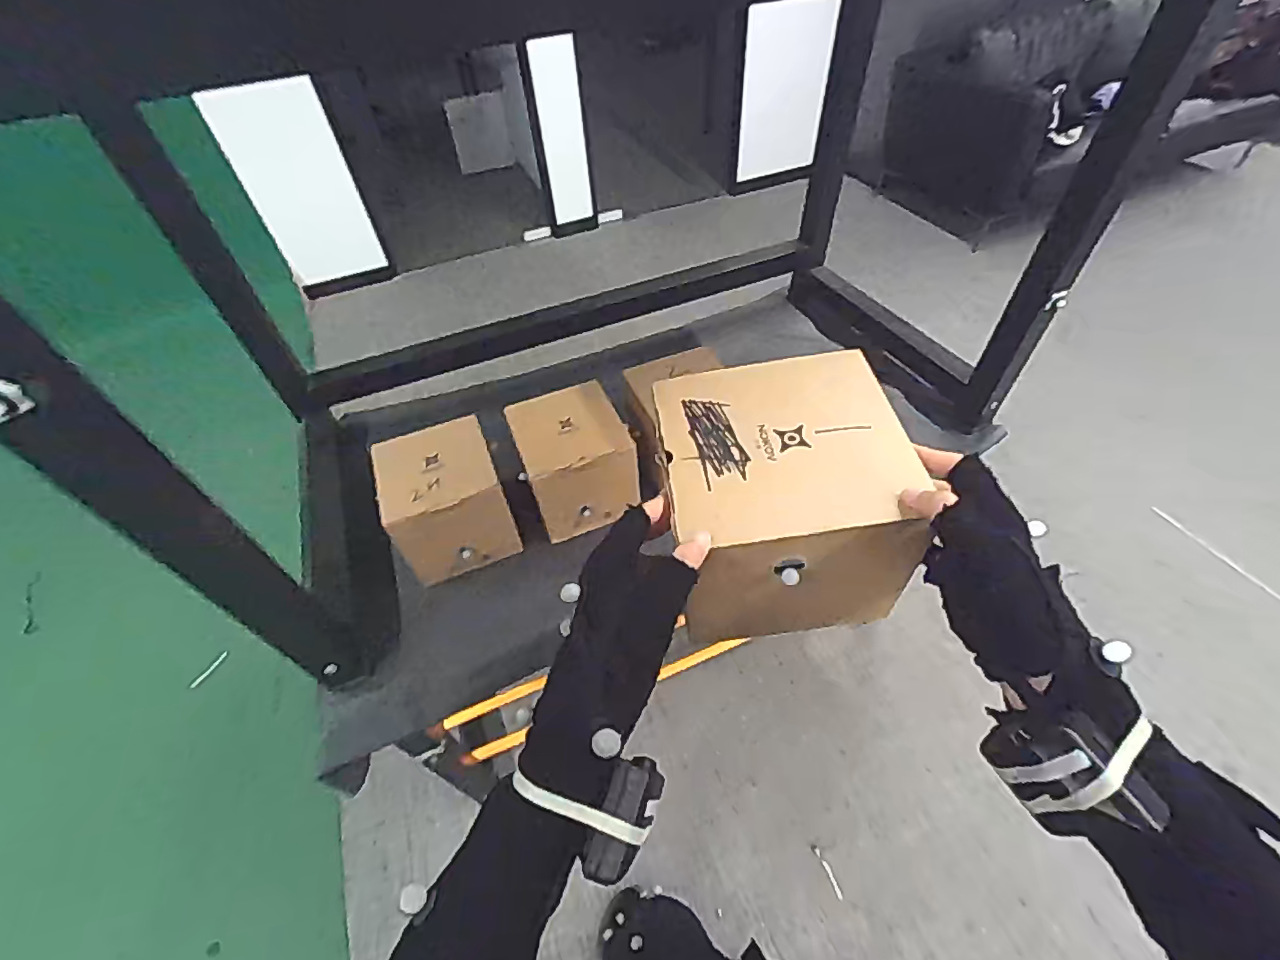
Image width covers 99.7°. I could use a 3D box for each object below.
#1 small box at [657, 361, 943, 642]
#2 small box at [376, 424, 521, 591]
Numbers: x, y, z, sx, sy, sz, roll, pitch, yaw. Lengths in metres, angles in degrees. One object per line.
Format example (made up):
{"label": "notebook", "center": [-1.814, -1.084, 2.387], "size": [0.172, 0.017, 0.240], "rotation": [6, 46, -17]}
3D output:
{"label": "small box", "center": [0.115, 0.026, 0.463], "size": [0.179, 0.176, 0.168], "rotation": [-8, 52, 2]}
{"label": "small box", "center": [-0.304, 0.045, 0.869], "size": [0.168, 0.176, 0.179], "rotation": [-20, 50, -13]}
